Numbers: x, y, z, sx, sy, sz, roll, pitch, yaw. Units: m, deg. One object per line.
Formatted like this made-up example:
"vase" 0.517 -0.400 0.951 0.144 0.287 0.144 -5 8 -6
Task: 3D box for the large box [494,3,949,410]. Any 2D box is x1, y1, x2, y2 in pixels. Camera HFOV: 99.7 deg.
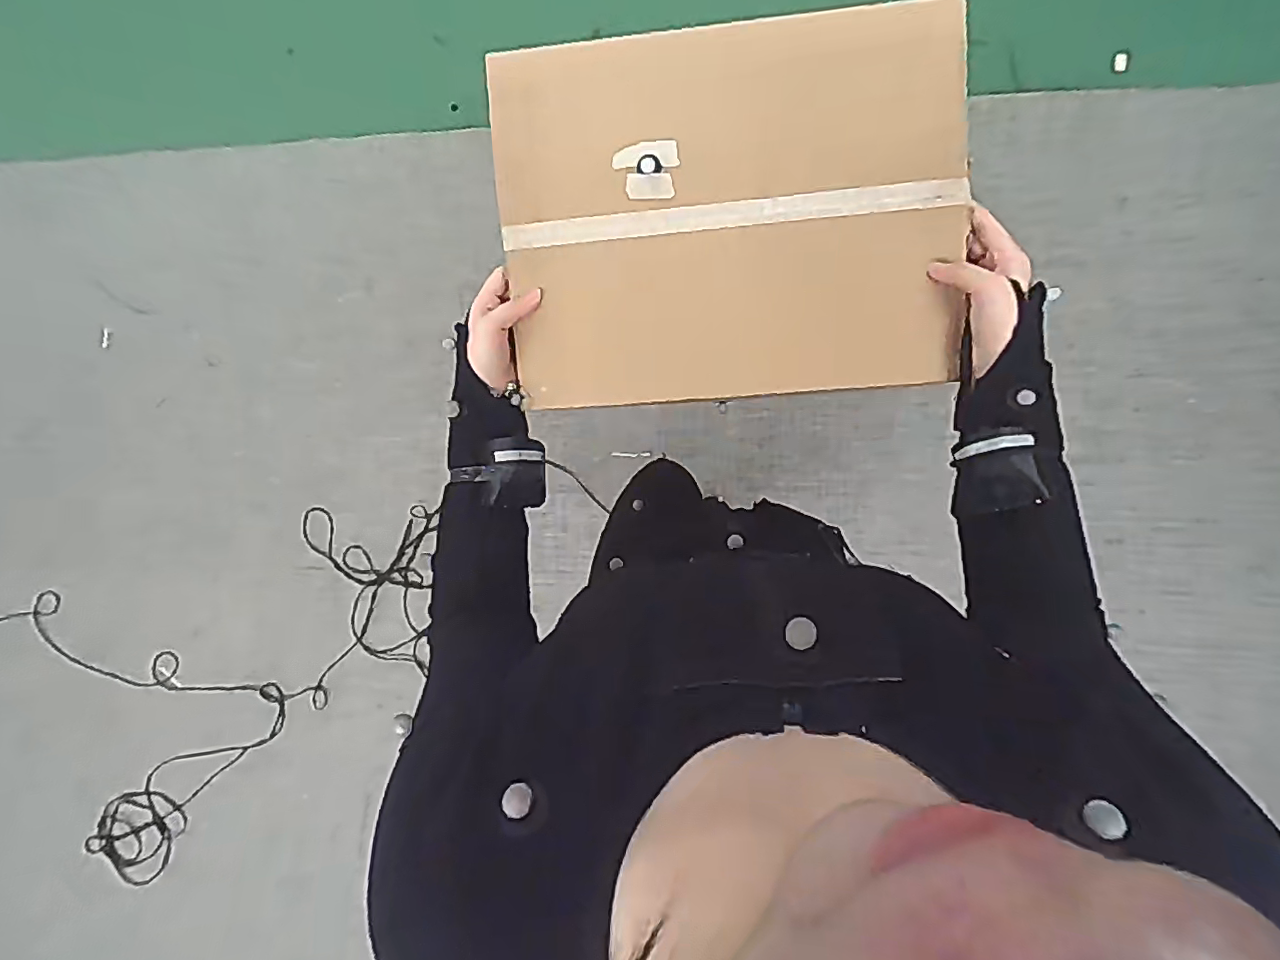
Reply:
"large box" 0.090 -0.257 0.640 0.408 0.320 0.320 -4 97 7
